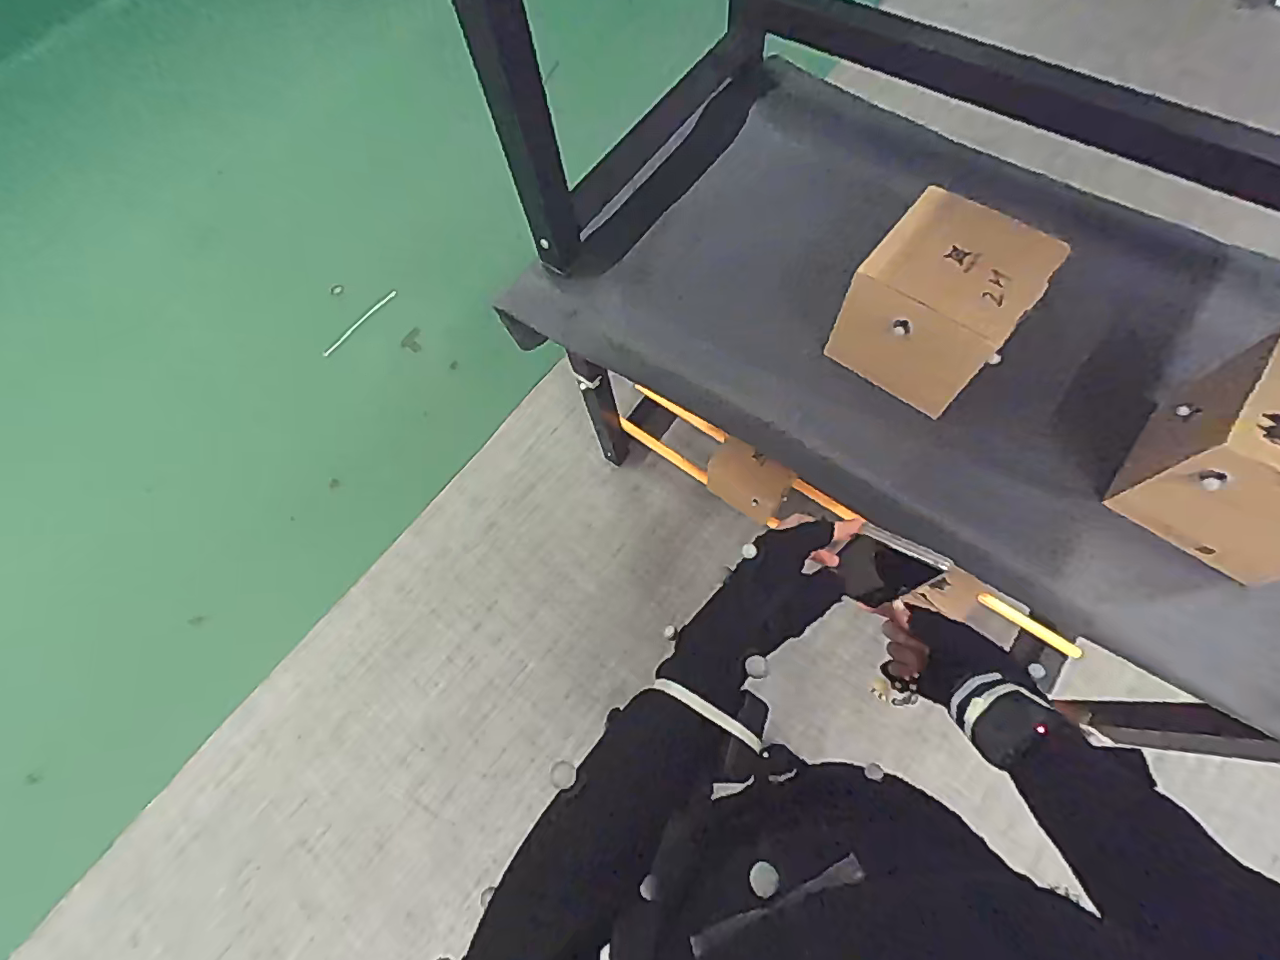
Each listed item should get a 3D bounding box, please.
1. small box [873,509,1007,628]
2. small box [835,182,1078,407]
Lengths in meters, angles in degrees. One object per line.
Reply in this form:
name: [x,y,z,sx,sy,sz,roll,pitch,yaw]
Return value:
small box: [0.628,0.198,1.159,0.168,0.176,0.179,38,77,17]
small box: [0.374,-0.221,0.676,0.179,0.176,0.168,37,76,18]
